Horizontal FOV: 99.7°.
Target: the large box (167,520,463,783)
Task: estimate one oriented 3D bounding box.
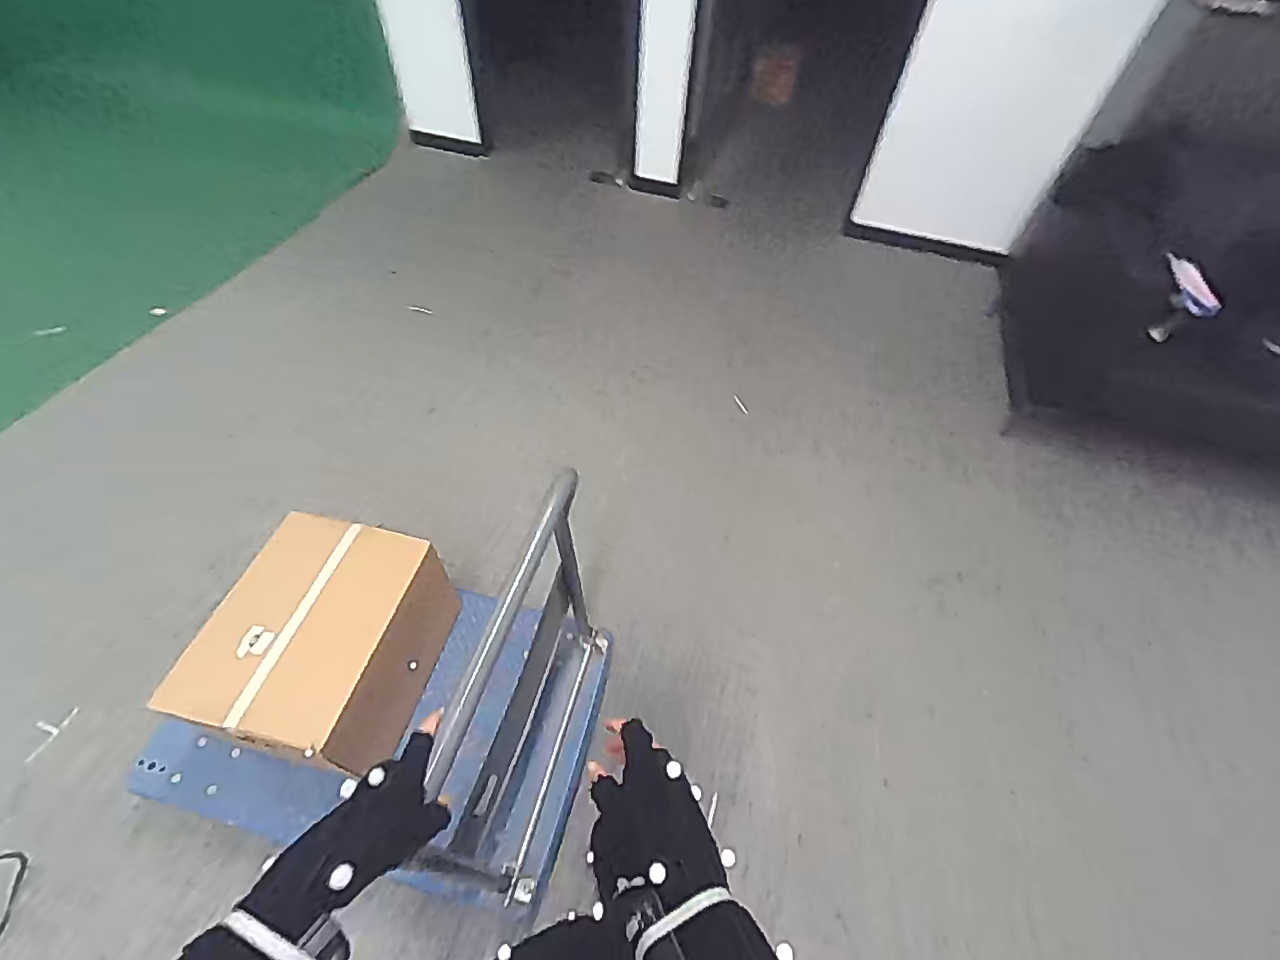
[{"bbox_3d":[-0.607,0.351,1.116,0.320,0.320,0.408,11,53,5],"label":"large box"}]
